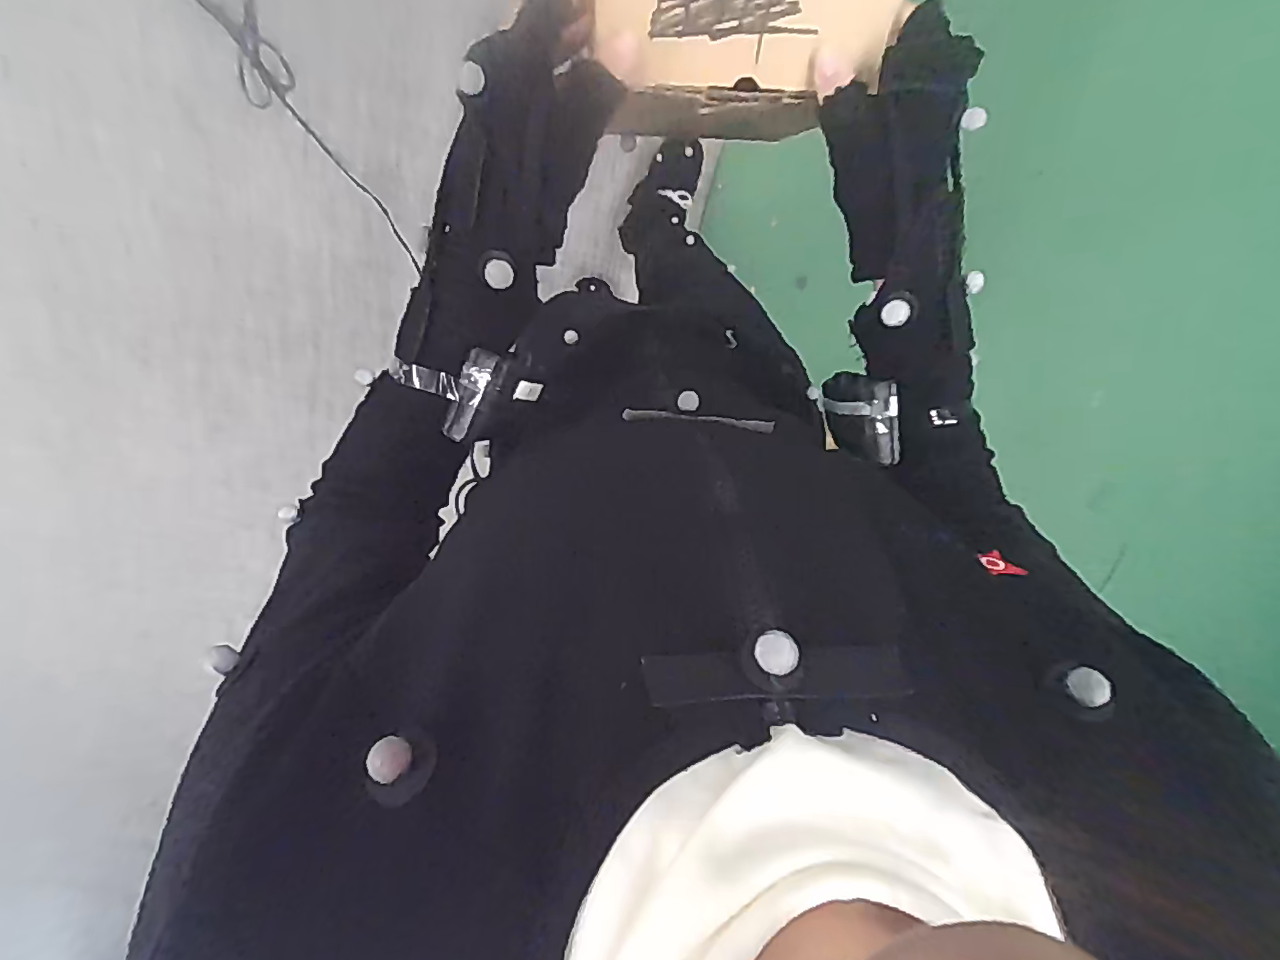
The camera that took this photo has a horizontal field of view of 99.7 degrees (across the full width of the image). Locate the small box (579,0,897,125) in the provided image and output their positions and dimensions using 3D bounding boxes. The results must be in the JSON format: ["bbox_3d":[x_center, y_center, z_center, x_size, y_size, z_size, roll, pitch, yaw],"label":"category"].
[{"bbox_3d":[0.049,-0.332,0.331,0.168,0.176,0.179,-2,115,-7],"label":"small box"}]
